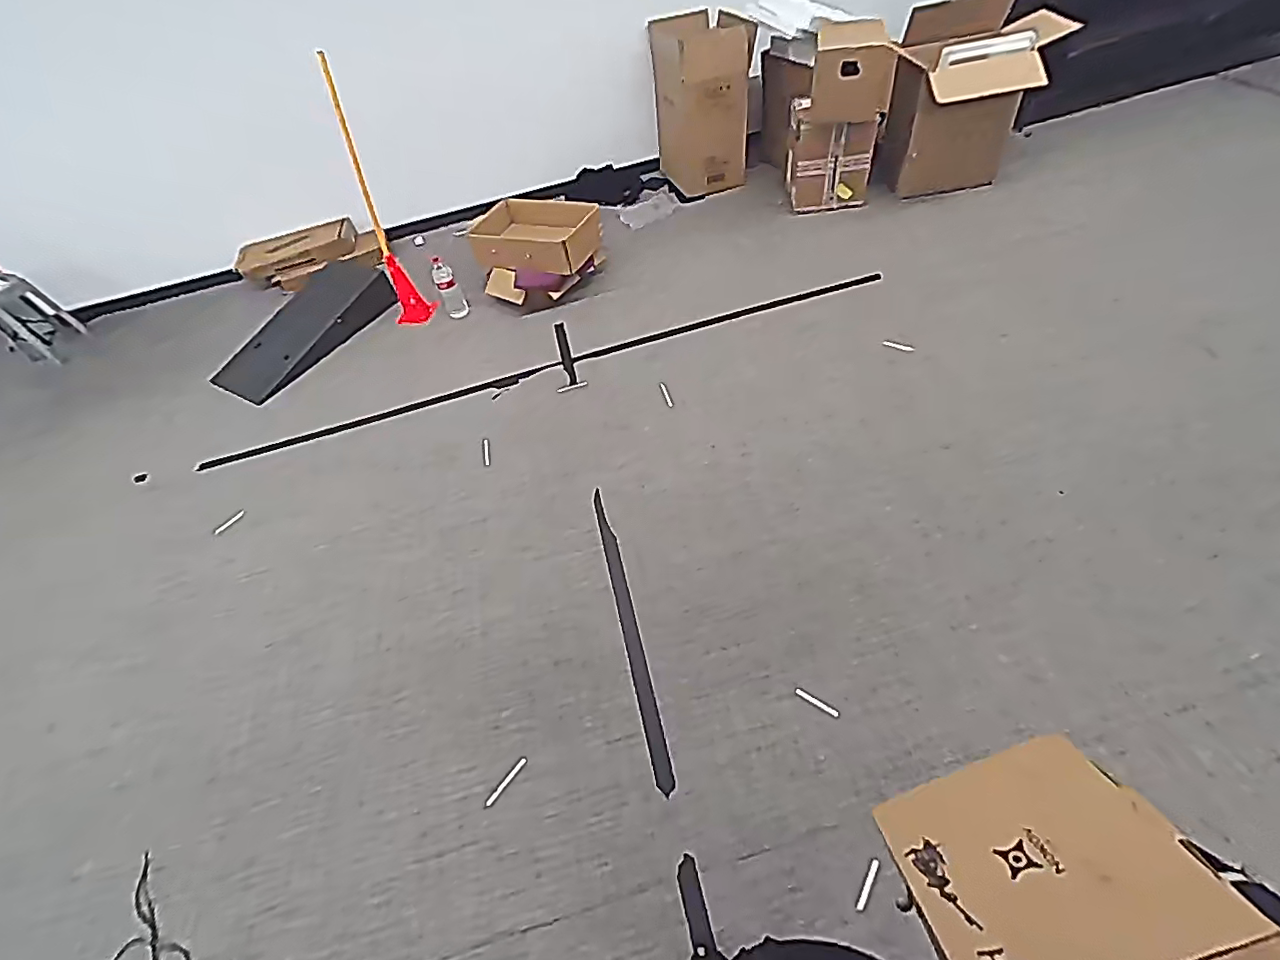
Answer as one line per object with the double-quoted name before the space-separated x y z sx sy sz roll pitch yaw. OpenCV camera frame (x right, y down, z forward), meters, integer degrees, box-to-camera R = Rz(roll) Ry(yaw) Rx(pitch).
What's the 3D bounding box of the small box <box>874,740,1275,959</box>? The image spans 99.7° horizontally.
"small box" 0.320 0.350 0.415 0.179 0.176 0.168 -26 12 5
